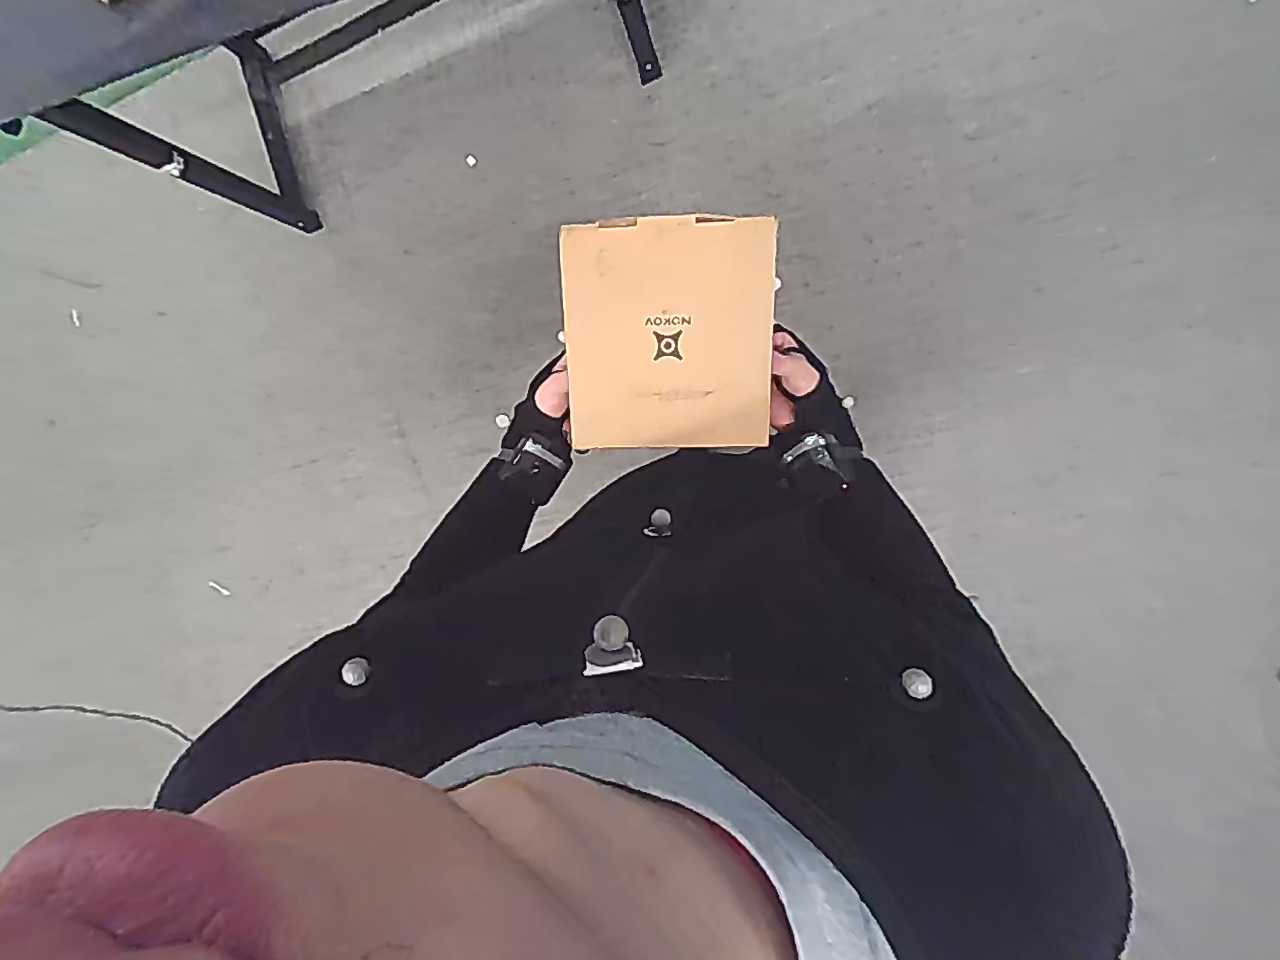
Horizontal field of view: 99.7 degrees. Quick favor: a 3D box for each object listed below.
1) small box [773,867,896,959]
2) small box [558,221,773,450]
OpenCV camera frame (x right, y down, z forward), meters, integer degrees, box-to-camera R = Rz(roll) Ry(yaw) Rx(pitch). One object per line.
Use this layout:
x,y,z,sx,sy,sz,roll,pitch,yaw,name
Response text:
0.322,0.777,0.874,0.168,0.176,0.179,-19,92,14,small box
0.025,-0.131,0.506,0.168,0.176,0.179,1,107,6,small box
